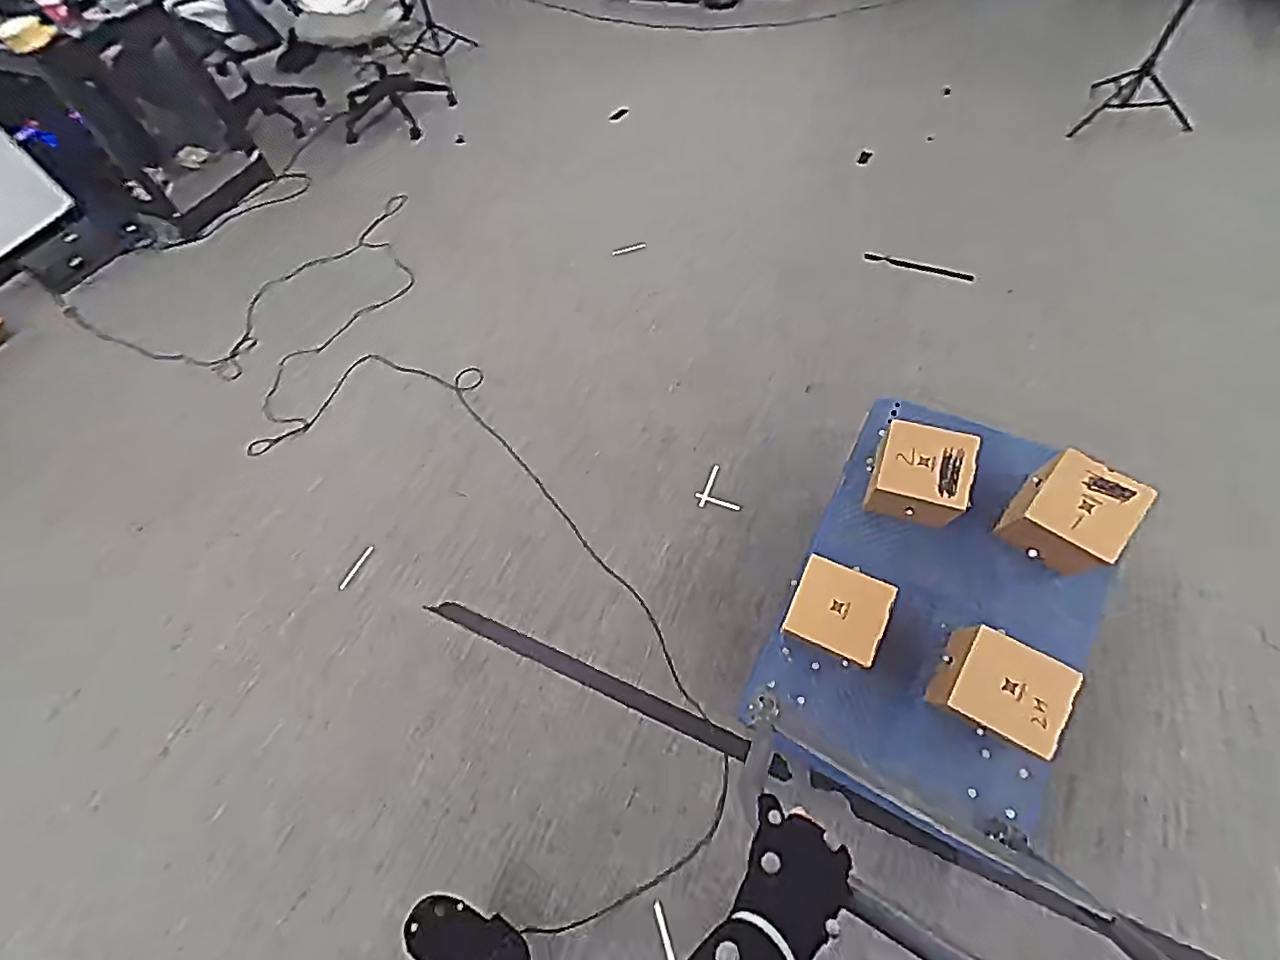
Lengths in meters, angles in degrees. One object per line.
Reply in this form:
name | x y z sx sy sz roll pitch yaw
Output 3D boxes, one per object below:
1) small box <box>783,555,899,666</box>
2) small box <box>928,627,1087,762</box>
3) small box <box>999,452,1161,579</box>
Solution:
small box | 0.411 0.280 1.136 0.179 0.176 0.168 22 77 17
small box | 0.683 0.403 1.030 0.179 0.176 0.168 28 79 20
small box | 0.878 0.078 1.102 0.168 0.176 0.179 36 83 21
